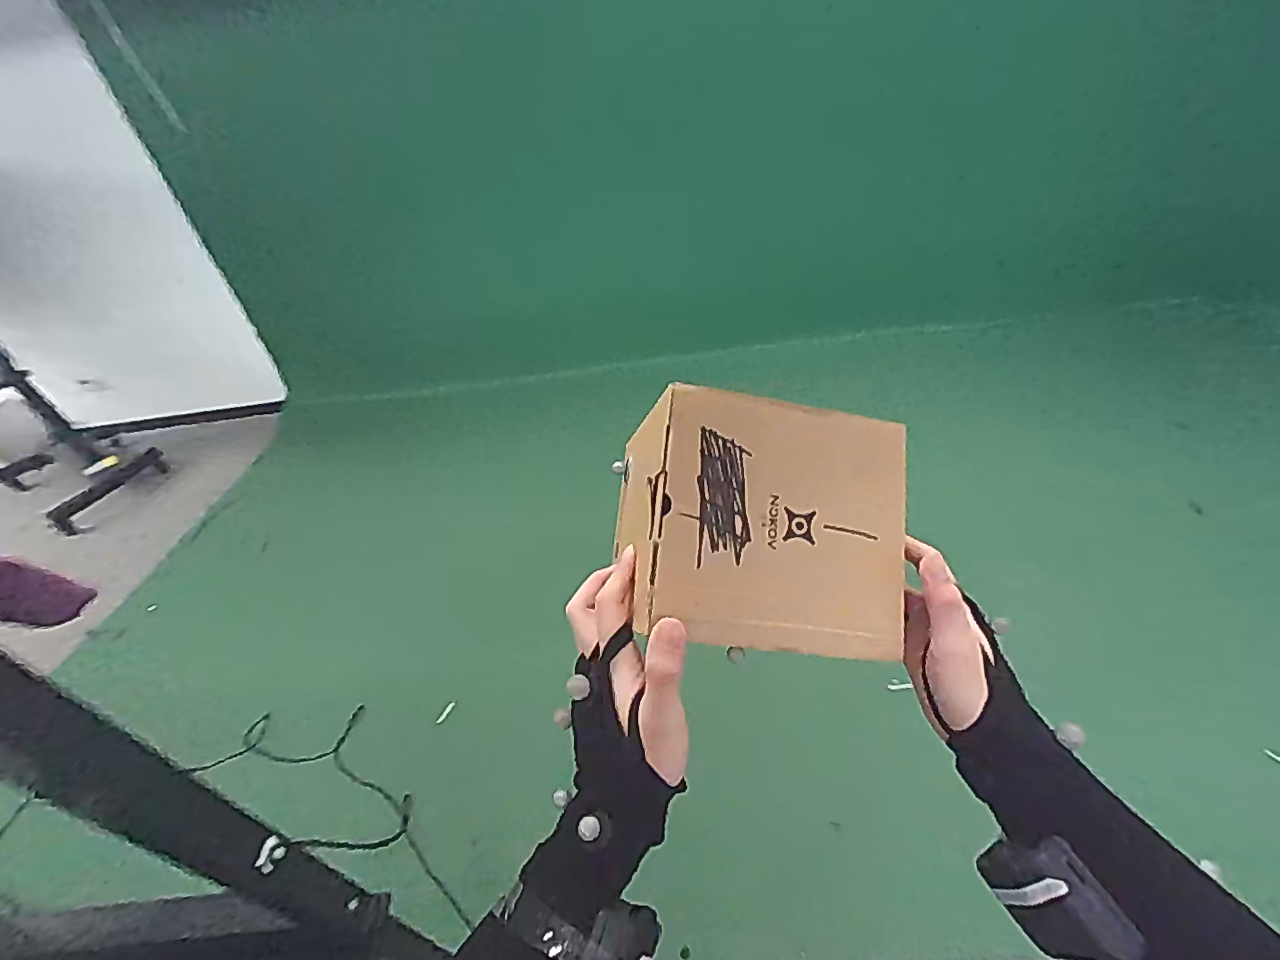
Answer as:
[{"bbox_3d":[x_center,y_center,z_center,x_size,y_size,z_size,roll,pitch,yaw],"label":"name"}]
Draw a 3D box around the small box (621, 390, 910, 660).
[{"bbox_3d":[0.089,0.044,0.446,0.179,0.176,0.168,10,78,-12],"label":"small box"}]
